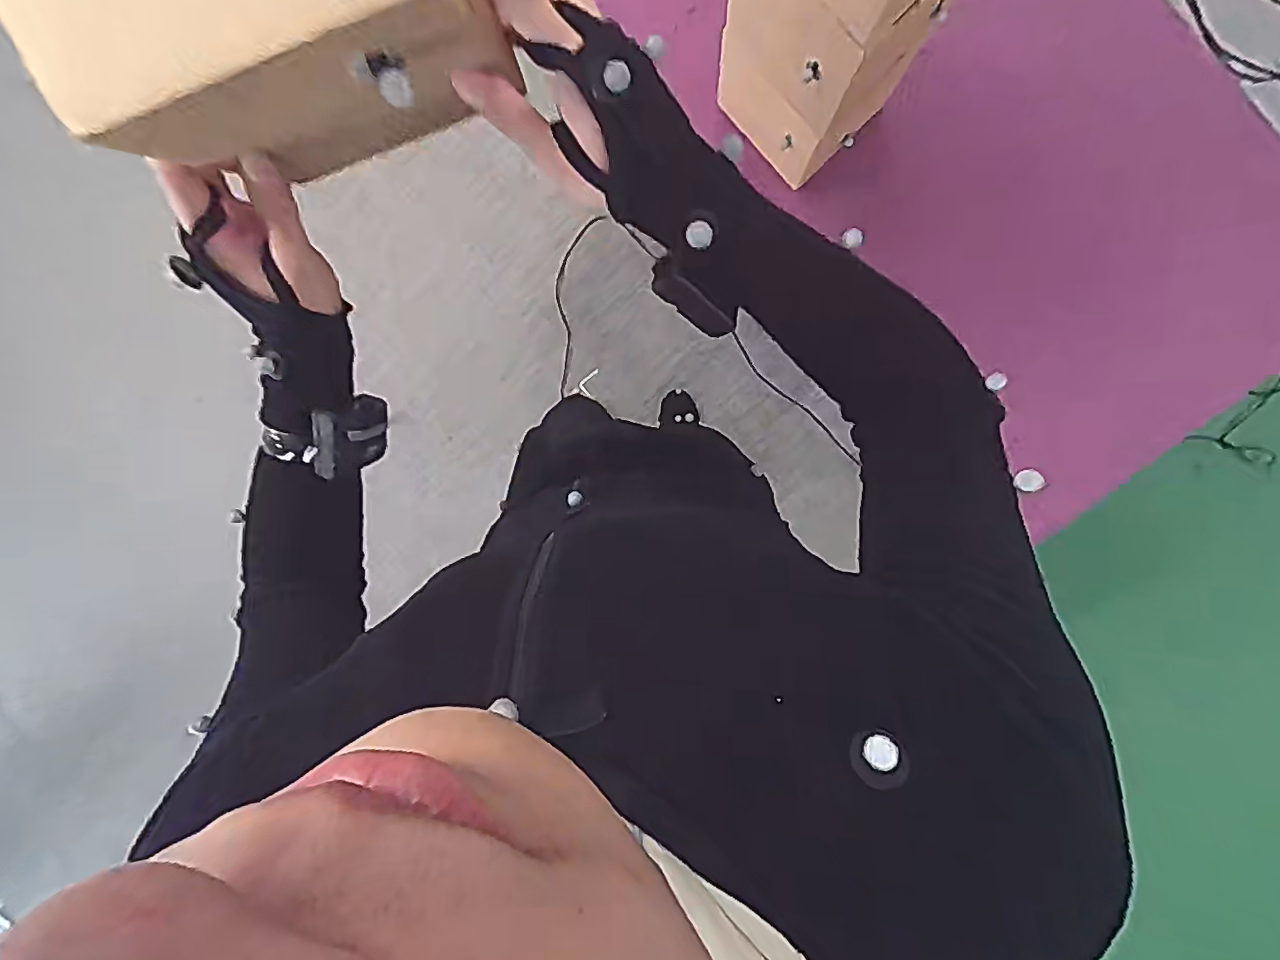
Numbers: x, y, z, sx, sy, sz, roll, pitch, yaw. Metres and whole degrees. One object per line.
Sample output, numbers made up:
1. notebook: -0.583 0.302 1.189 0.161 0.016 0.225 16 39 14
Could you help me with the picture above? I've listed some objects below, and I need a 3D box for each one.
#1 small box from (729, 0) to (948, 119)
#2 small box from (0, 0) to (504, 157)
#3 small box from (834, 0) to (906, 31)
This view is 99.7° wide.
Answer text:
1. small box: 0.209 -0.512 0.546 0.168 0.176 0.179 -42 92 10
2. small box: -0.180 -0.277 0.254 0.179 0.176 0.168 -15 112 8
3. small box: 0.198 -0.492 0.385 0.179 0.176 0.168 -44 93 10
